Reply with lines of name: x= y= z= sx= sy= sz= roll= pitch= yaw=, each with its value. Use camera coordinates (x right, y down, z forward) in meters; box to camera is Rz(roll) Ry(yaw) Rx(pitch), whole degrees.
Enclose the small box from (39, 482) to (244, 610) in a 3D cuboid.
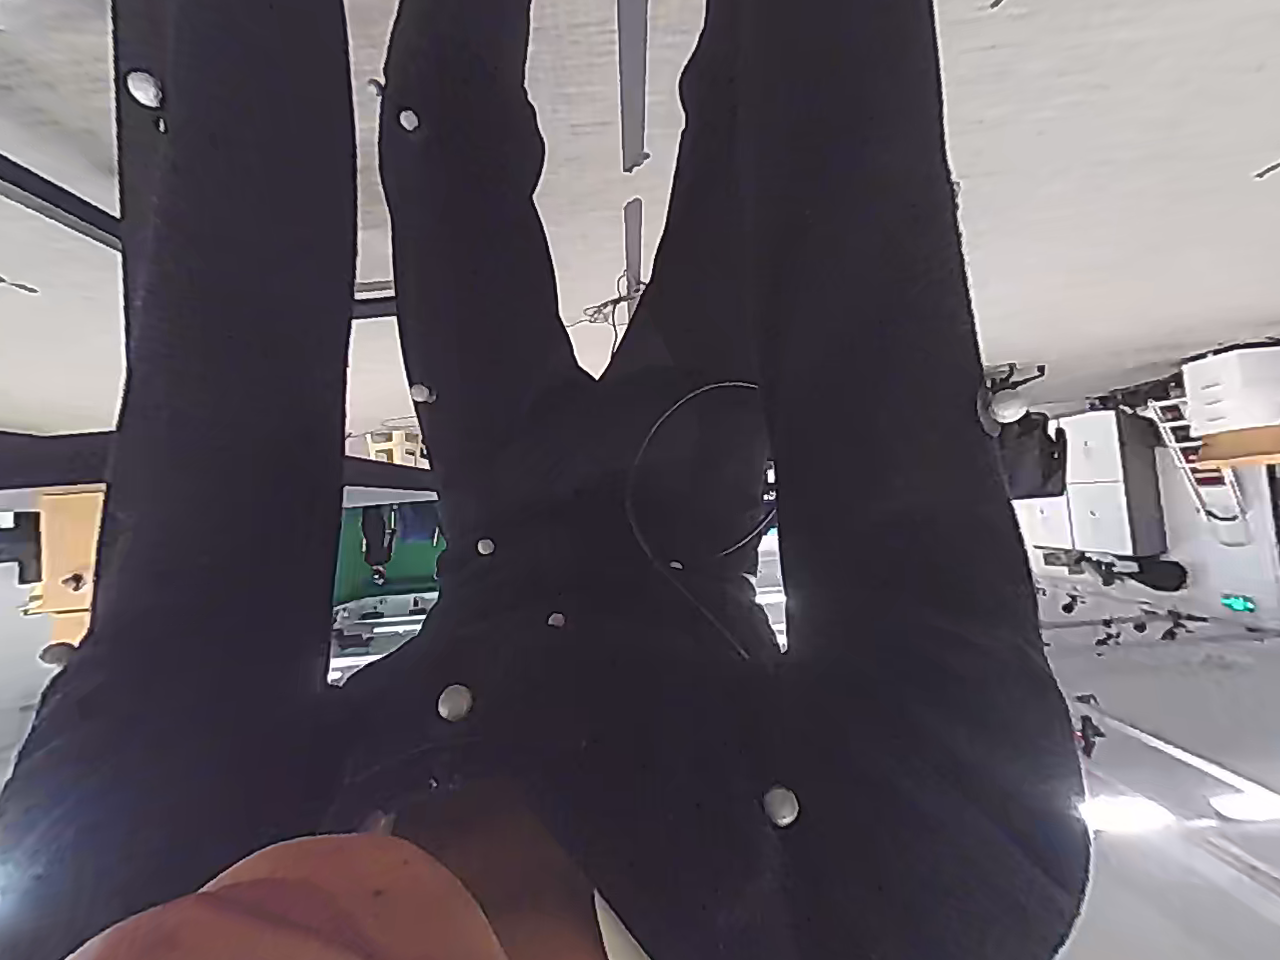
small box: x=-0.751 y=0.095 z=0.832 sx=0.179 sy=0.176 sz=0.168 roll=-4 pitch=179 yaw=-4
